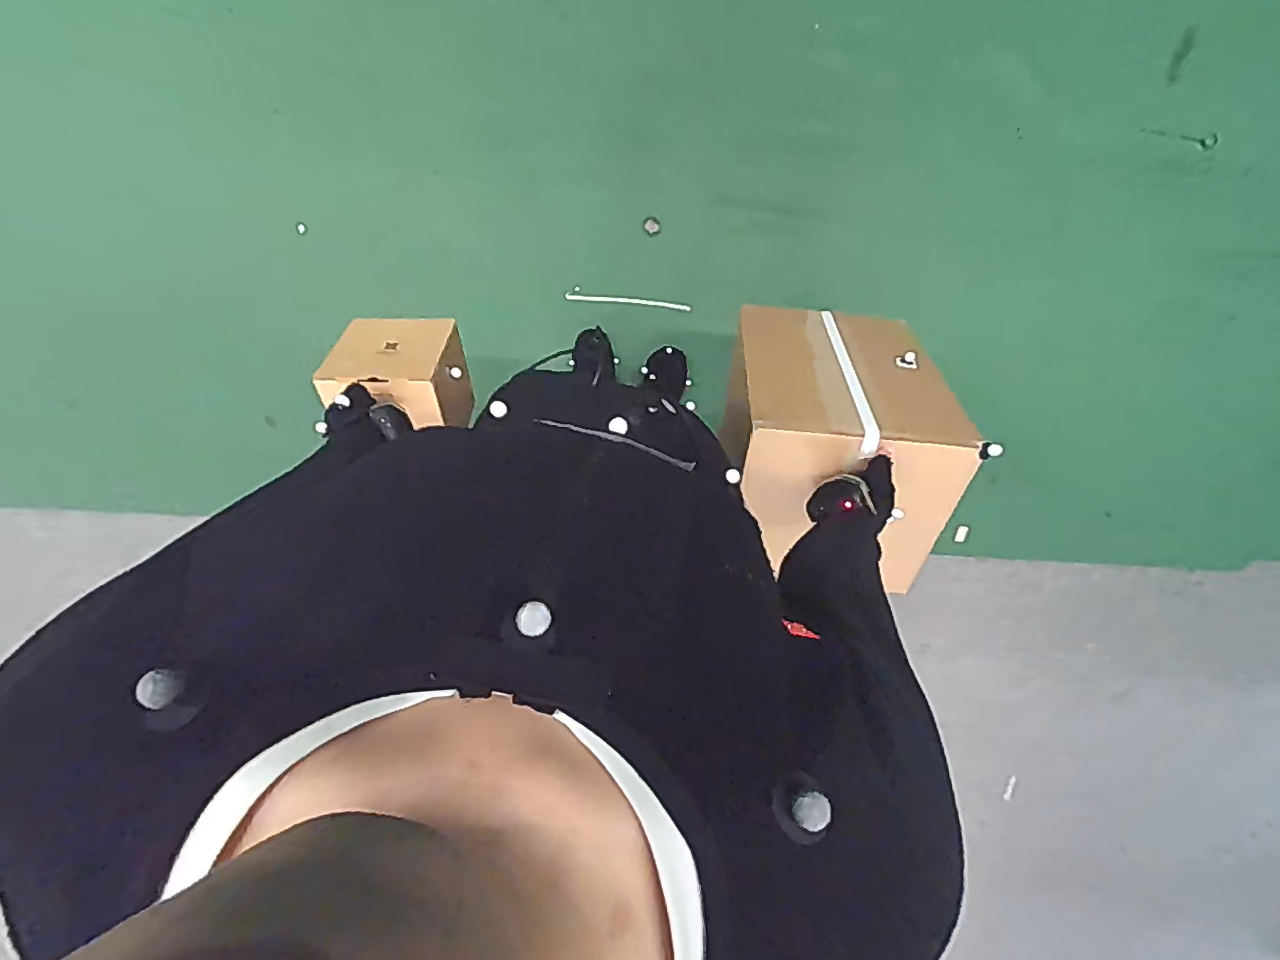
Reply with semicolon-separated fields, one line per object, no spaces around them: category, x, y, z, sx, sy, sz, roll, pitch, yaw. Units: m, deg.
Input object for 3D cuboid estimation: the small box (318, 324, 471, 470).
small box;-0.383;-0.136;0.885;0.168;0.179;0.176;0;135;-3
